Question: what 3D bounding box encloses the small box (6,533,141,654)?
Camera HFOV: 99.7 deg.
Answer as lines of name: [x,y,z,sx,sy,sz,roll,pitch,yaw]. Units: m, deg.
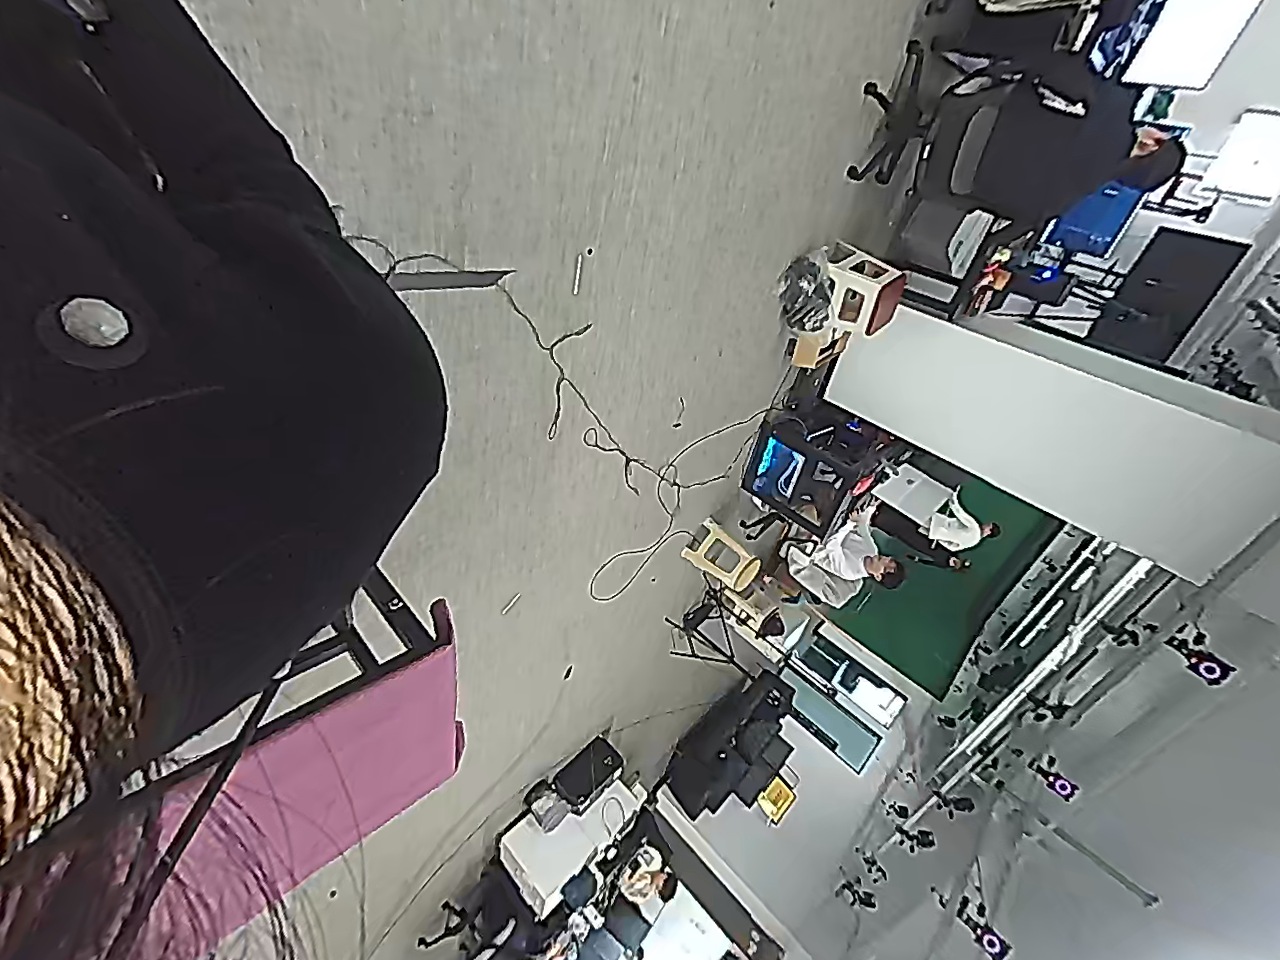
small box: [-1.298,0.255,1.244,0.168,0.176,0.179,-24,138,-42]
